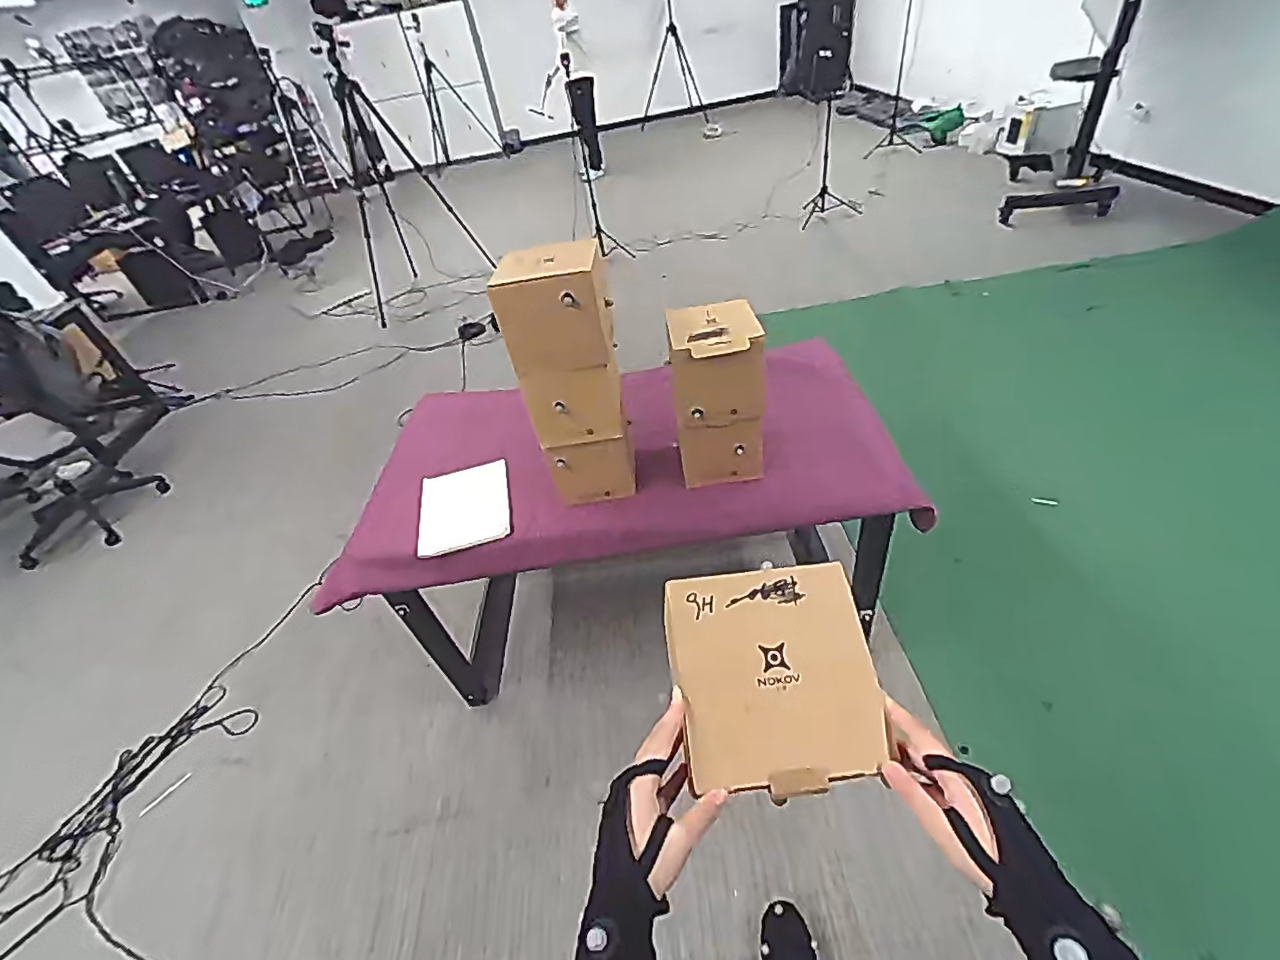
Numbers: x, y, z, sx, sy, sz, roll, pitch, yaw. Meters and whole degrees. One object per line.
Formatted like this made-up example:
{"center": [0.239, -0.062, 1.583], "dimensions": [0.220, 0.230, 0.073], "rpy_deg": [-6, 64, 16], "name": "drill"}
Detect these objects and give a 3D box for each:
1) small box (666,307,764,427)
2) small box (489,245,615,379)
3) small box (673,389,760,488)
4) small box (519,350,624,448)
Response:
{"center": [0.146, -0.216, 1.061], "dimensions": [0.168, 0.176, 0.179], "rpy_deg": [-8, 39, 3], "name": "small box"}
{"center": [-0.144, -0.298, 0.968], "dimensions": [0.179, 0.176, 0.168], "rpy_deg": [-6, 39, 7], "name": "small box"}
{"center": [0.165, -0.095, 1.170], "dimensions": [0.168, 0.176, 0.179], "rpy_deg": [-7, 39, 4], "name": "small box"}
{"center": [-0.127, -0.177, 1.079], "dimensions": [0.168, 0.176, 0.179], "rpy_deg": [-8, 39, 5], "name": "small box"}
